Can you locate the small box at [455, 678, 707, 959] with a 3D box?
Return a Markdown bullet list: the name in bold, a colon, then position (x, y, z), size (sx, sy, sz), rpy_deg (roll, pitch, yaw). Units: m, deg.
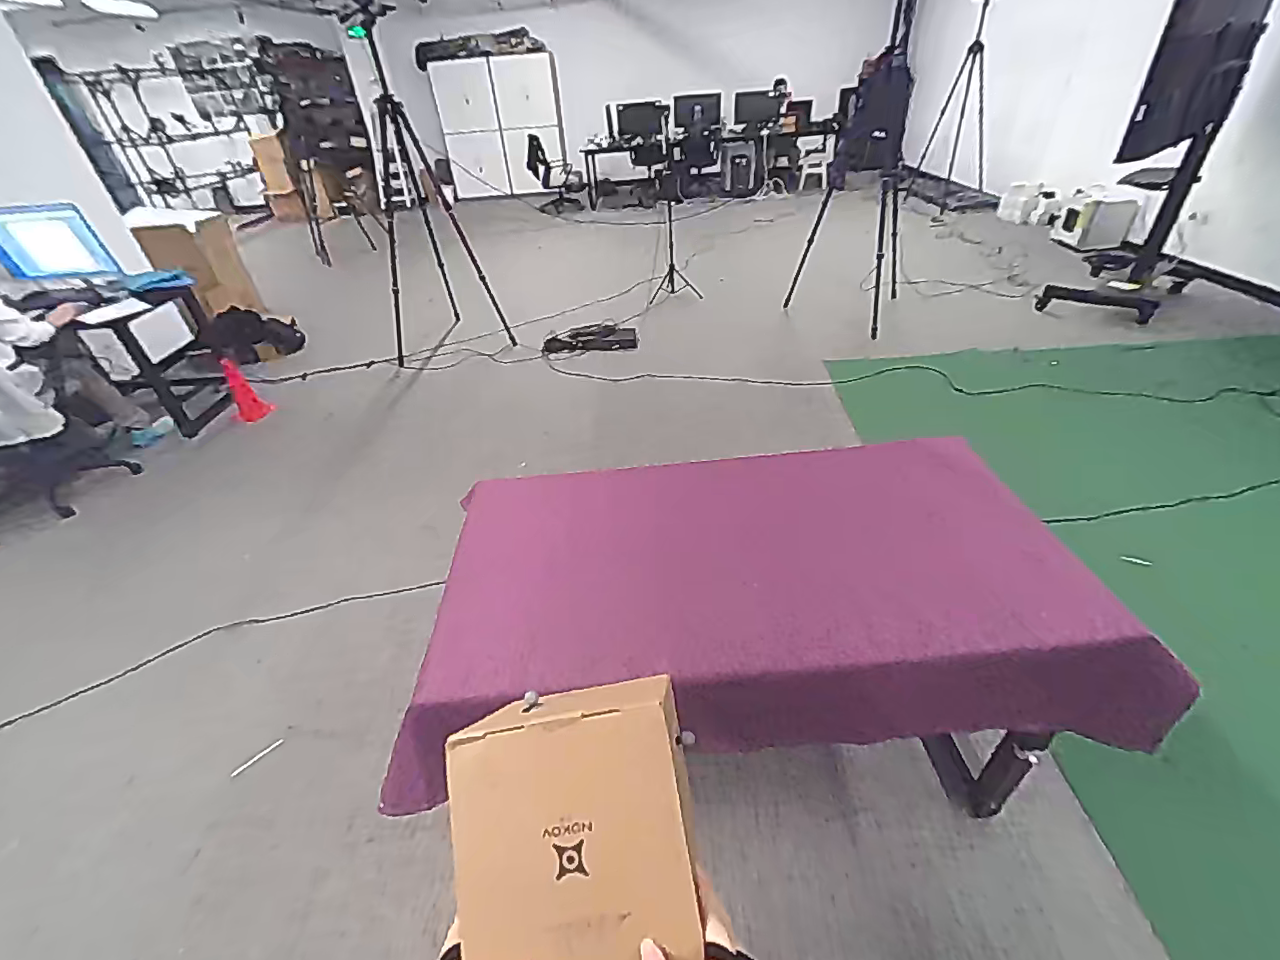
- **small box**: position (-0.042, 0.274, 0.461), size (0.168, 0.176, 0.179), rpy_deg (-10, 76, 3)
